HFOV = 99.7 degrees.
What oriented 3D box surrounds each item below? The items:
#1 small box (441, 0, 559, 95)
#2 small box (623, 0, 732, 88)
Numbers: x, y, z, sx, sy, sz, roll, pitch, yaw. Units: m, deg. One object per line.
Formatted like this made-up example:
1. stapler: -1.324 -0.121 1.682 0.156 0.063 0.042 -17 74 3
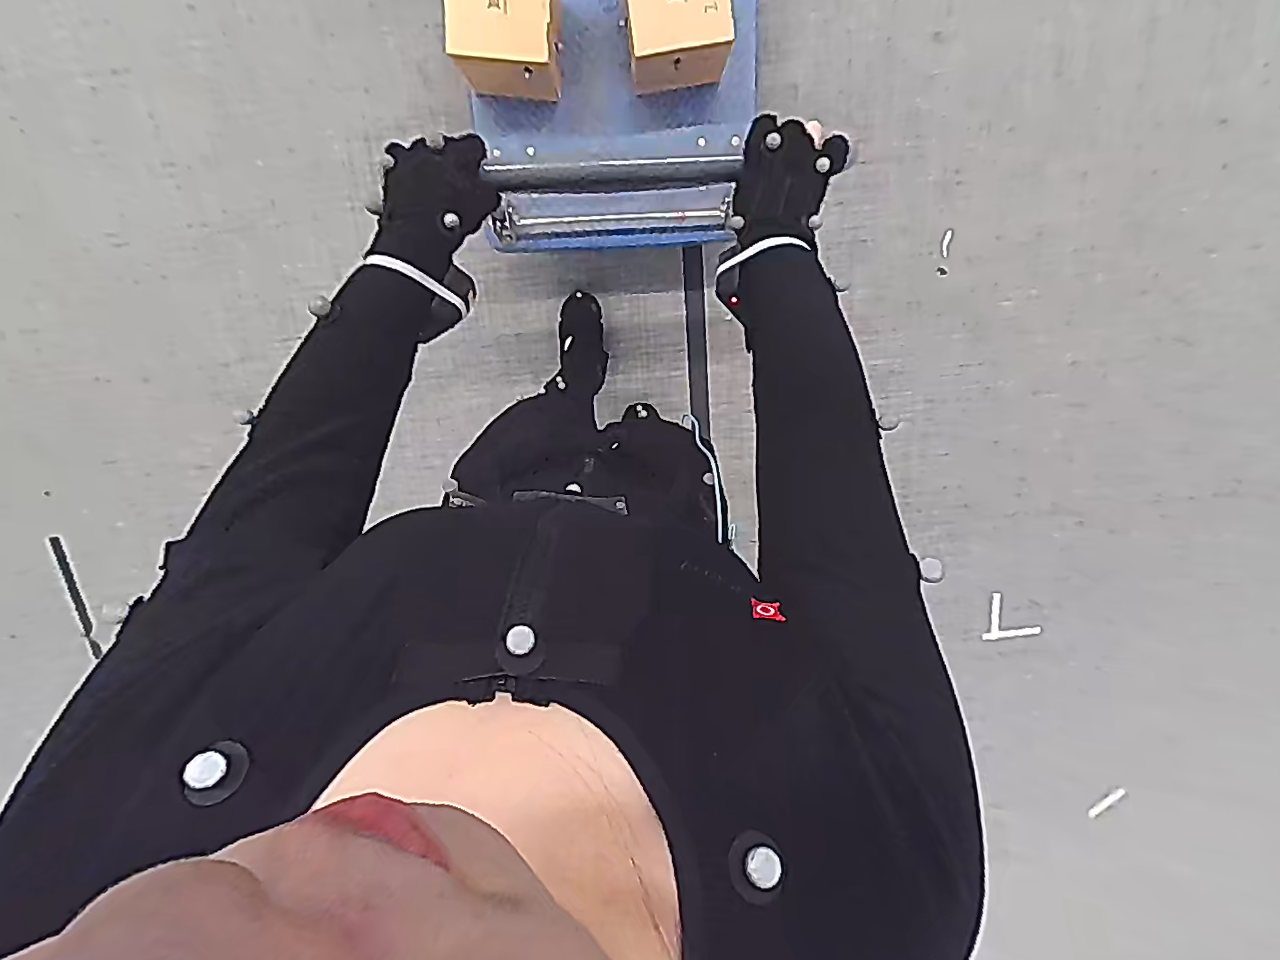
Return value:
1. small box: -0.243 -0.819 0.968 0.179 0.176 0.168 3 107 -3
2. small box: 0.060 -0.835 0.967 0.179 0.176 0.168 -8 107 2
